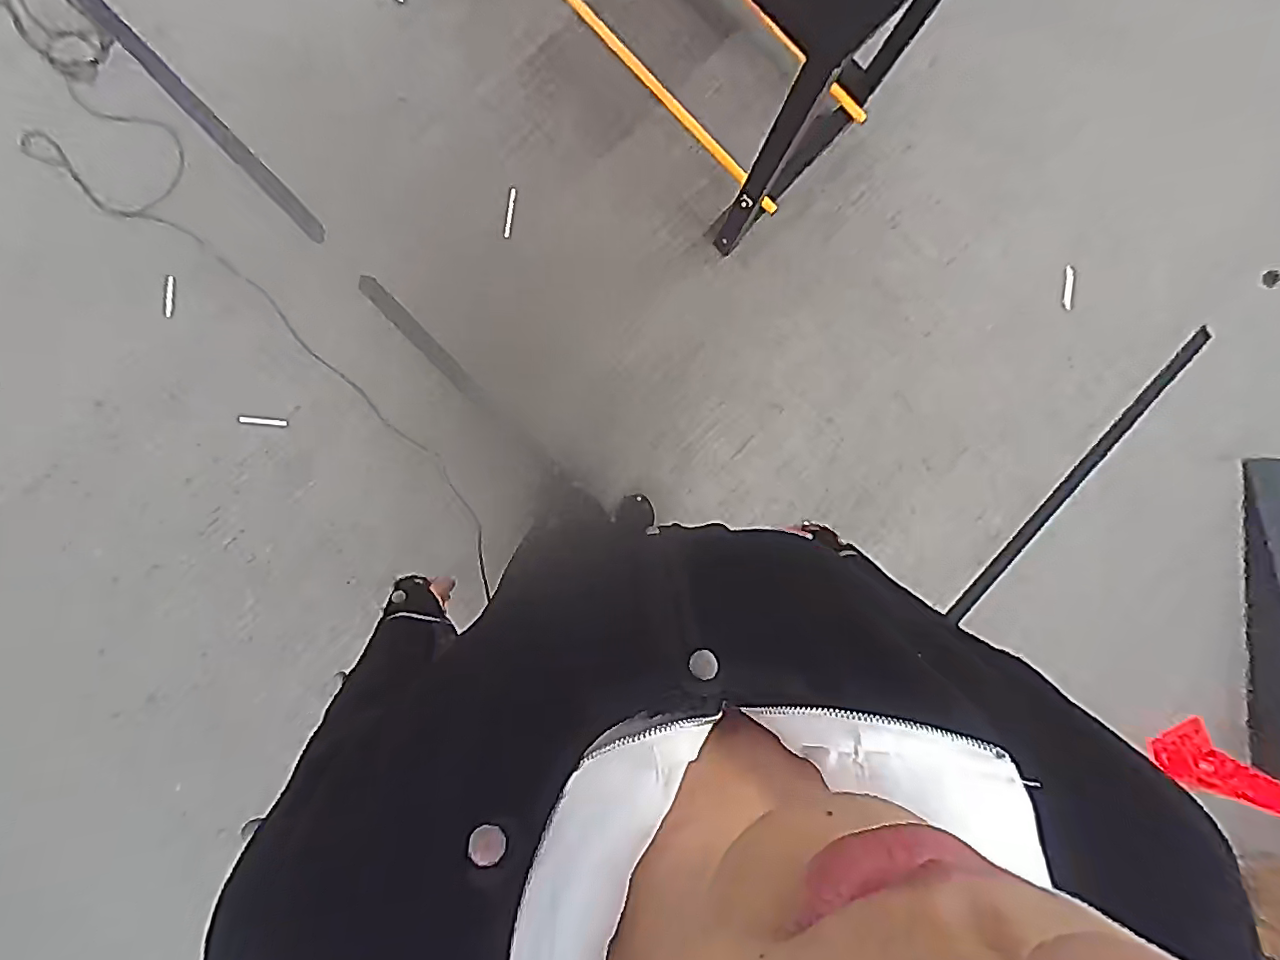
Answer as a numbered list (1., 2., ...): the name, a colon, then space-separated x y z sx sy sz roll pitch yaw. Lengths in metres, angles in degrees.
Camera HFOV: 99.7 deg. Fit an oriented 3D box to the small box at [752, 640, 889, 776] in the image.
1. small box: 0.365 0.459 1.121 0.179 0.176 0.168 36 85 -3
